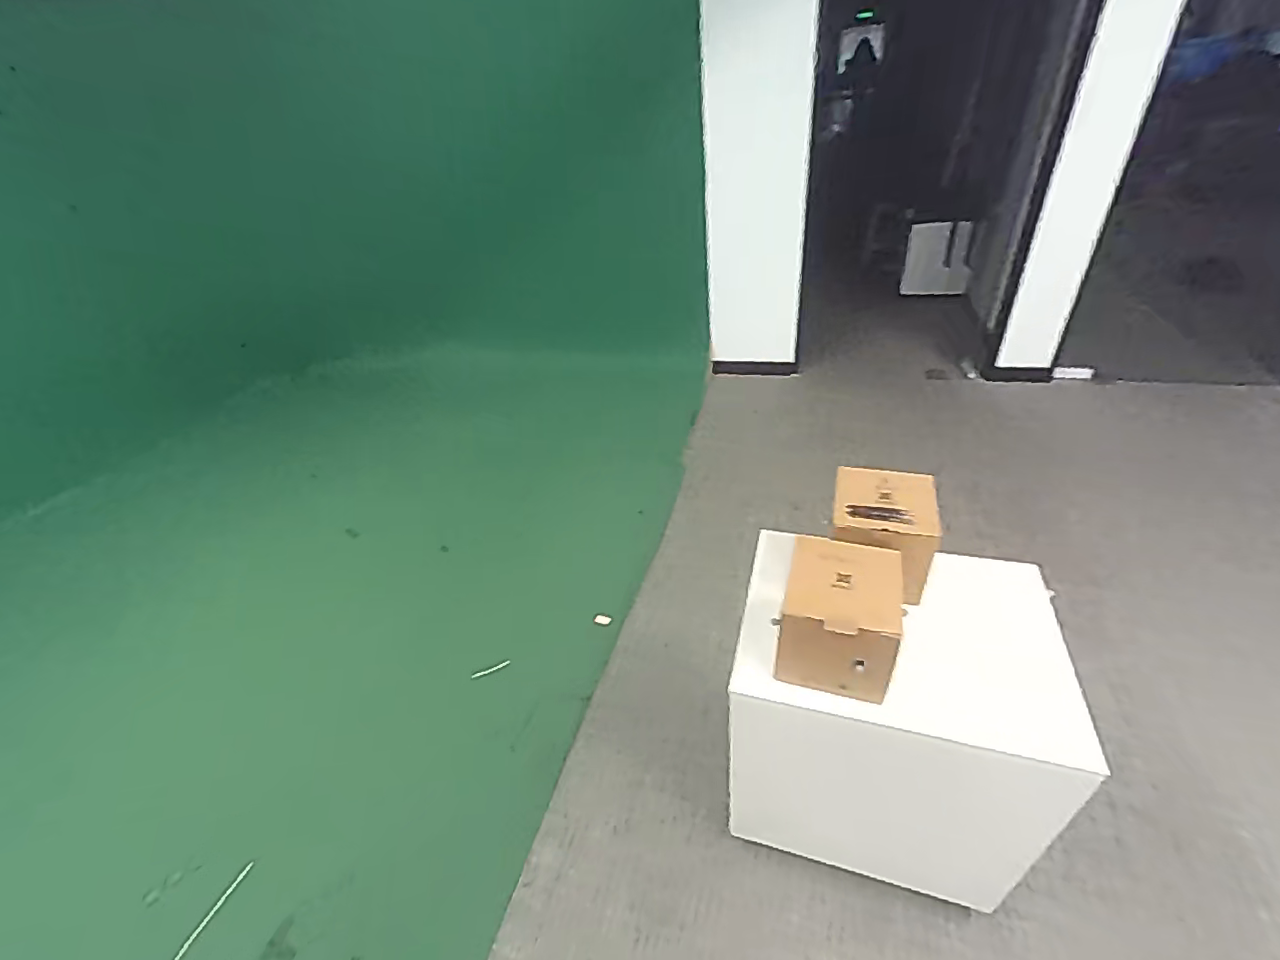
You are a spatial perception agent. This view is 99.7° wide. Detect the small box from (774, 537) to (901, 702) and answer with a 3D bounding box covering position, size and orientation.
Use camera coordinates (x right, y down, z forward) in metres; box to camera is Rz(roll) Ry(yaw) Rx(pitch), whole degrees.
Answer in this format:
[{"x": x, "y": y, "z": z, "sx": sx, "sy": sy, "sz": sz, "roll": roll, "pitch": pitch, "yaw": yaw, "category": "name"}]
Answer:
[{"x": 0.310, "y": 0.220, "z": 0.860, "sx": 0.168, "sy": 0.176, "sz": 0.179, "roll": 8, "pitch": 37, "yaw": 18, "category": "small box"}]
